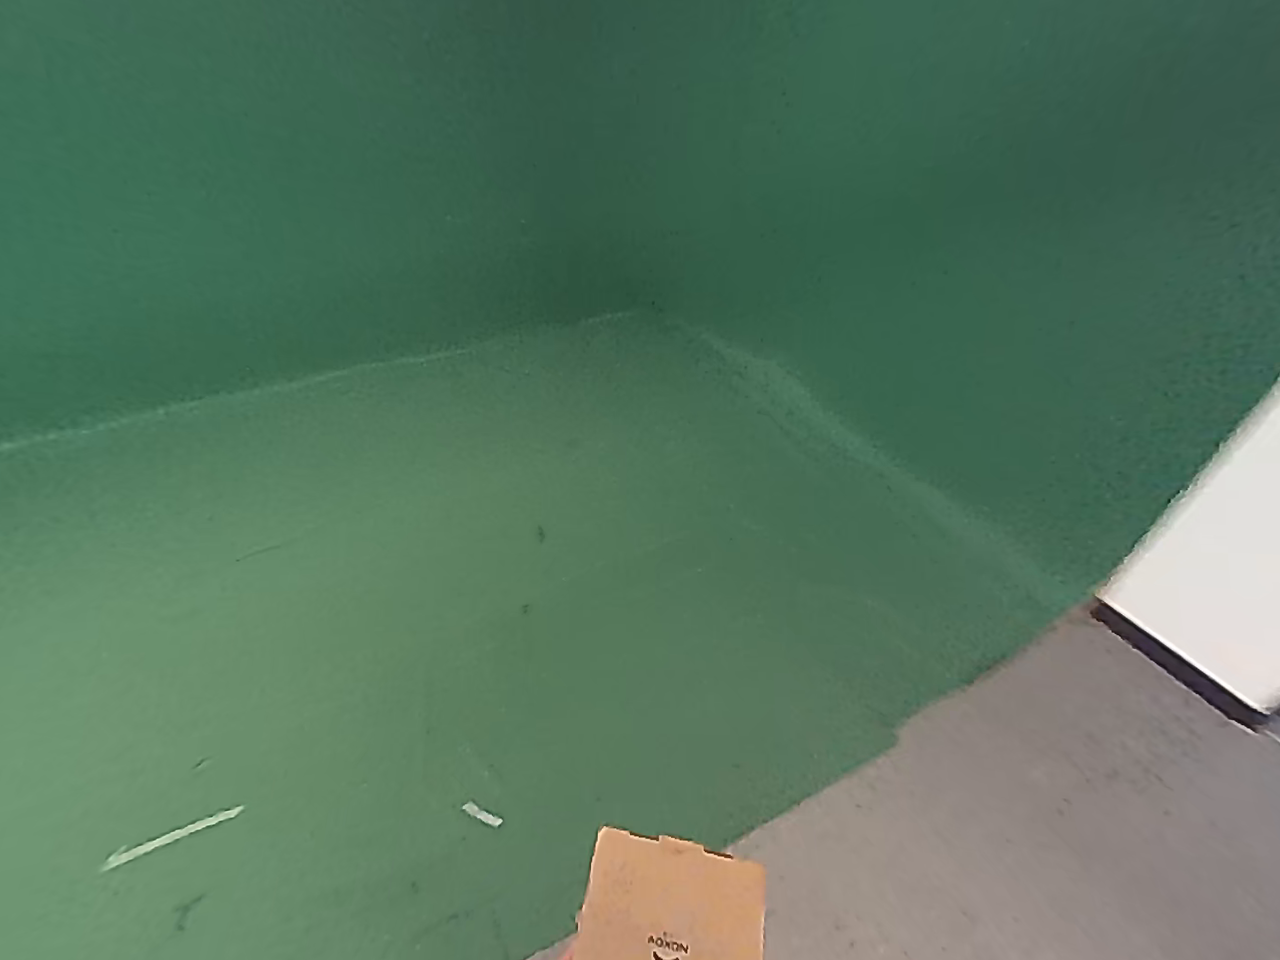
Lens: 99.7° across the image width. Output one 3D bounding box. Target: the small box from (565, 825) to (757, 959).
[{"bbox_3d":[0.019,0.474,0.533,0.168,0.176,0.179,7,47,8],"label":"small box"}]
